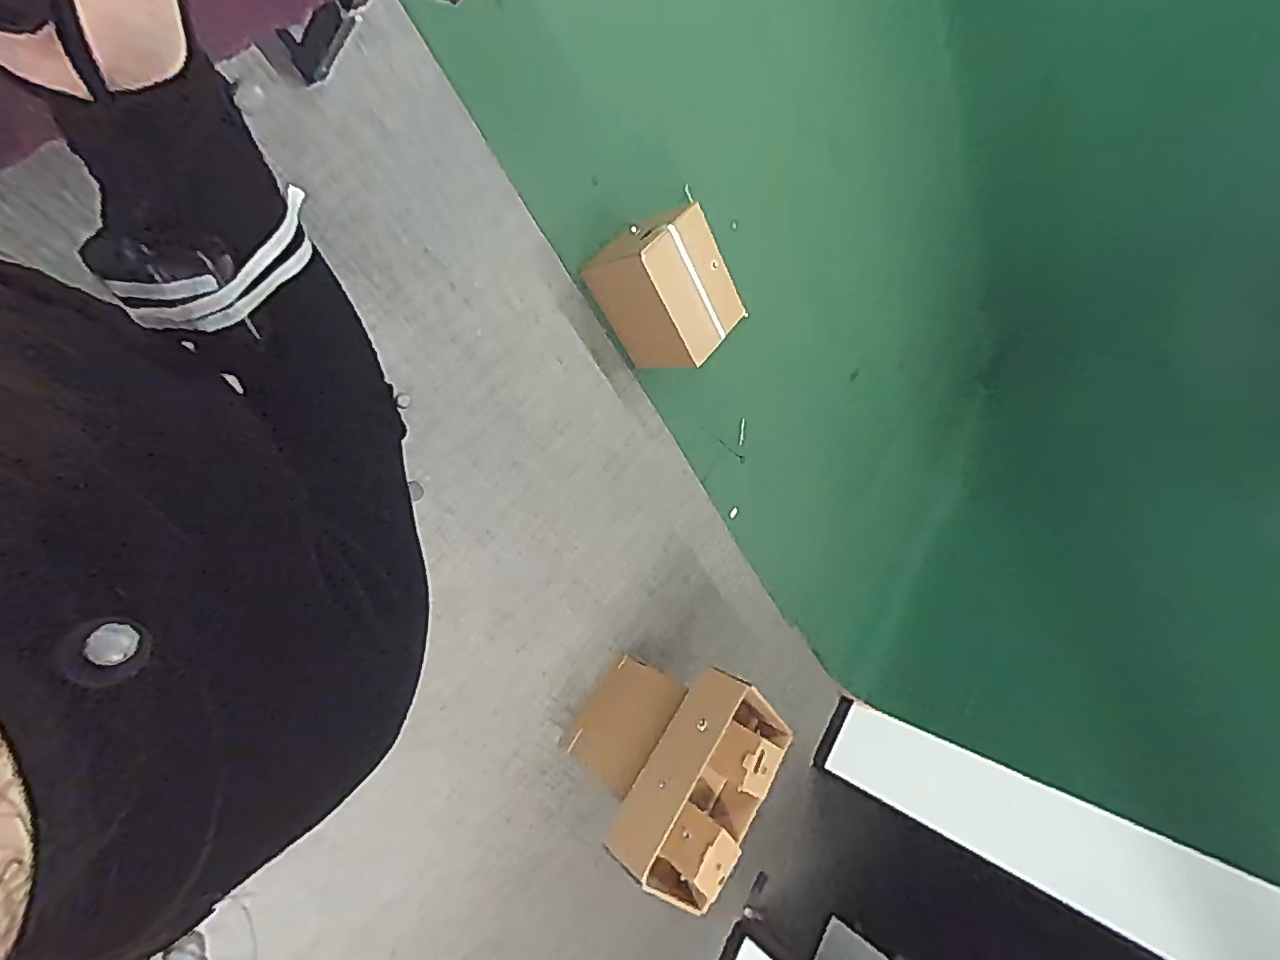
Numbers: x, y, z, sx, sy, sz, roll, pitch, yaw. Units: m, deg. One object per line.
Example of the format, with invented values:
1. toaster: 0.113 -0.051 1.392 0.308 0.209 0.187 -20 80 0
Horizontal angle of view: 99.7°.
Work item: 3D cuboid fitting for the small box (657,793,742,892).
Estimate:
1. small box: 0.183 1.118 1.683 0.168 0.176 0.179 -46 123 -25
